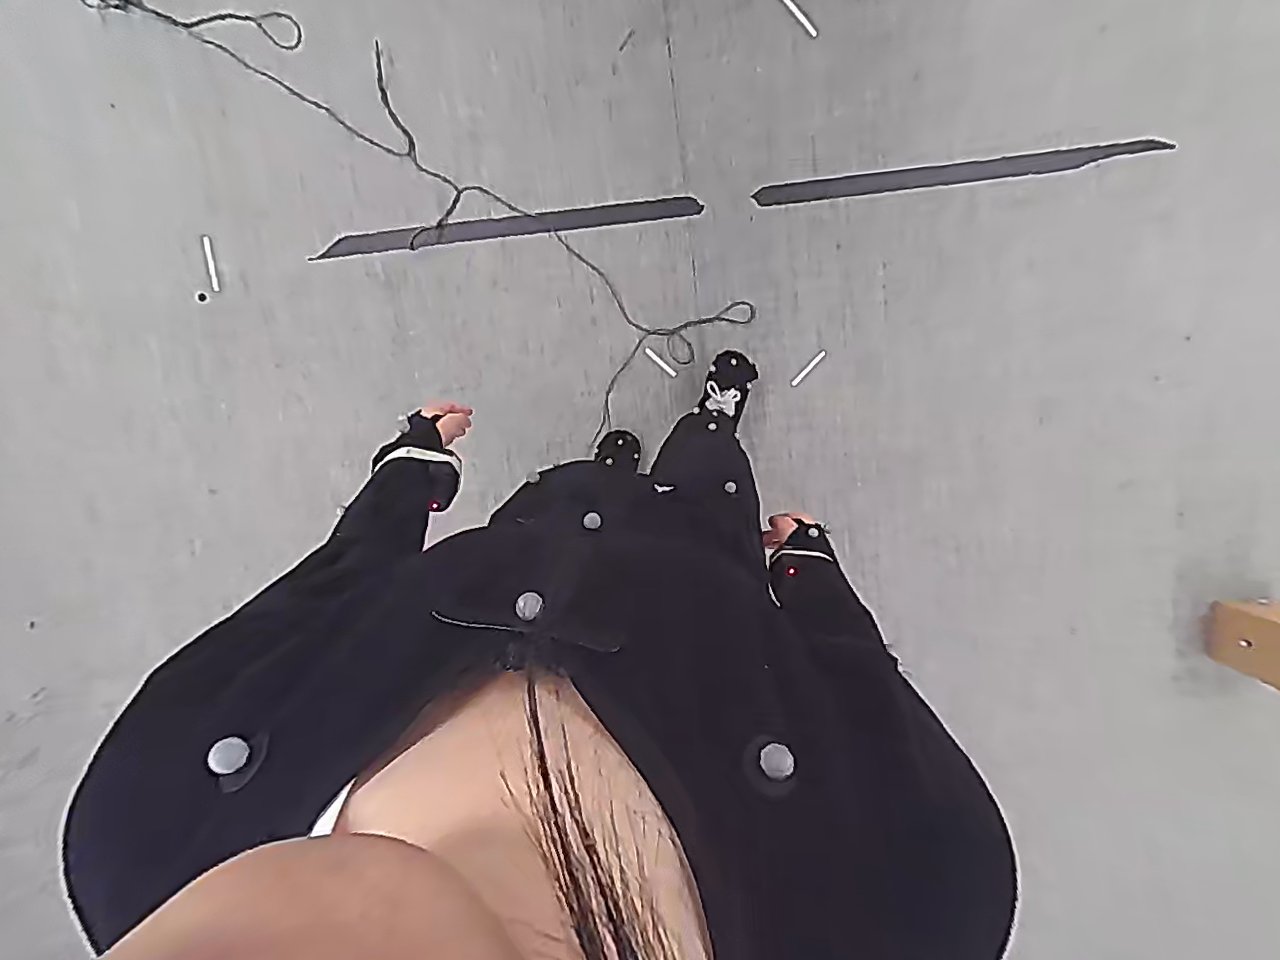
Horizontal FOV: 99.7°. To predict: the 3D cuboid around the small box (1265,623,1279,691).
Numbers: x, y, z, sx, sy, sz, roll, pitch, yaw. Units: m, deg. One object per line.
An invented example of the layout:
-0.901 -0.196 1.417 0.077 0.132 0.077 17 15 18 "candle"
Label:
1.683 0.458 1.302 0.168 0.176 0.179 -3 97 0 "small box"
